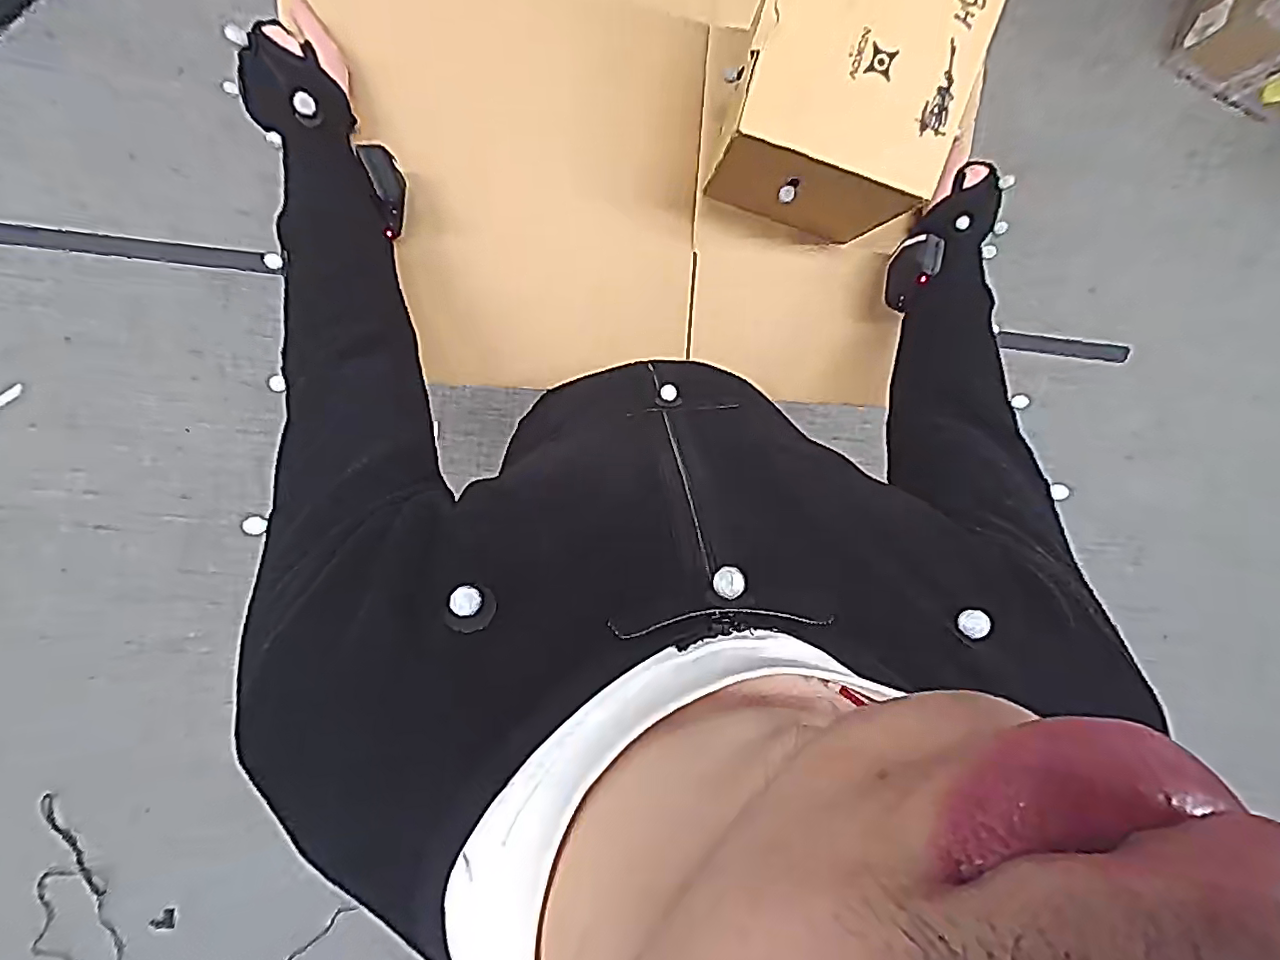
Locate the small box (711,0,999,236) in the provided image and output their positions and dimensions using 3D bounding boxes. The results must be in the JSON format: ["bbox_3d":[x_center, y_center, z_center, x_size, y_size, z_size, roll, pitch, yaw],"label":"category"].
[{"bbox_3d":[0.179,-0.352,0.510,0.179,0.176,0.168,16,101,-5],"label":"small box"}]
